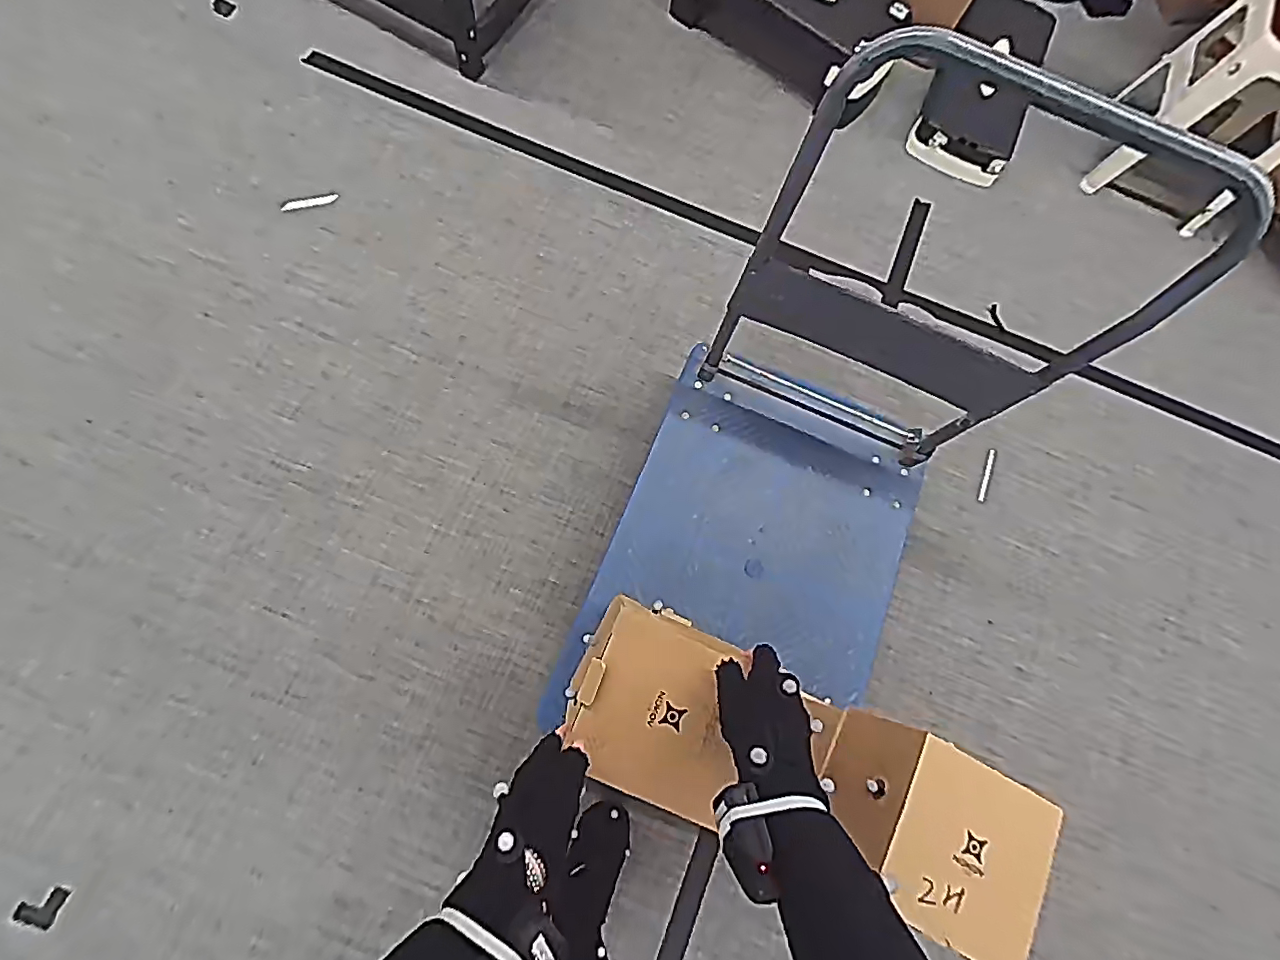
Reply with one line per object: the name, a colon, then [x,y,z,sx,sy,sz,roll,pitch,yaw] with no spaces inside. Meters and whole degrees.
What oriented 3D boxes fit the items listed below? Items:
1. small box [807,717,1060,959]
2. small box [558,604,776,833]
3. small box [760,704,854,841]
small box: [0.320,0.401,0.622,0.168,0.176,0.179,30,74,1]
small box: [0.024,0.252,0.620,0.179,0.176,0.168,24,80,0]
small box: [0.300,0.444,0.780,0.179,0.176,0.168,29,74,0]
